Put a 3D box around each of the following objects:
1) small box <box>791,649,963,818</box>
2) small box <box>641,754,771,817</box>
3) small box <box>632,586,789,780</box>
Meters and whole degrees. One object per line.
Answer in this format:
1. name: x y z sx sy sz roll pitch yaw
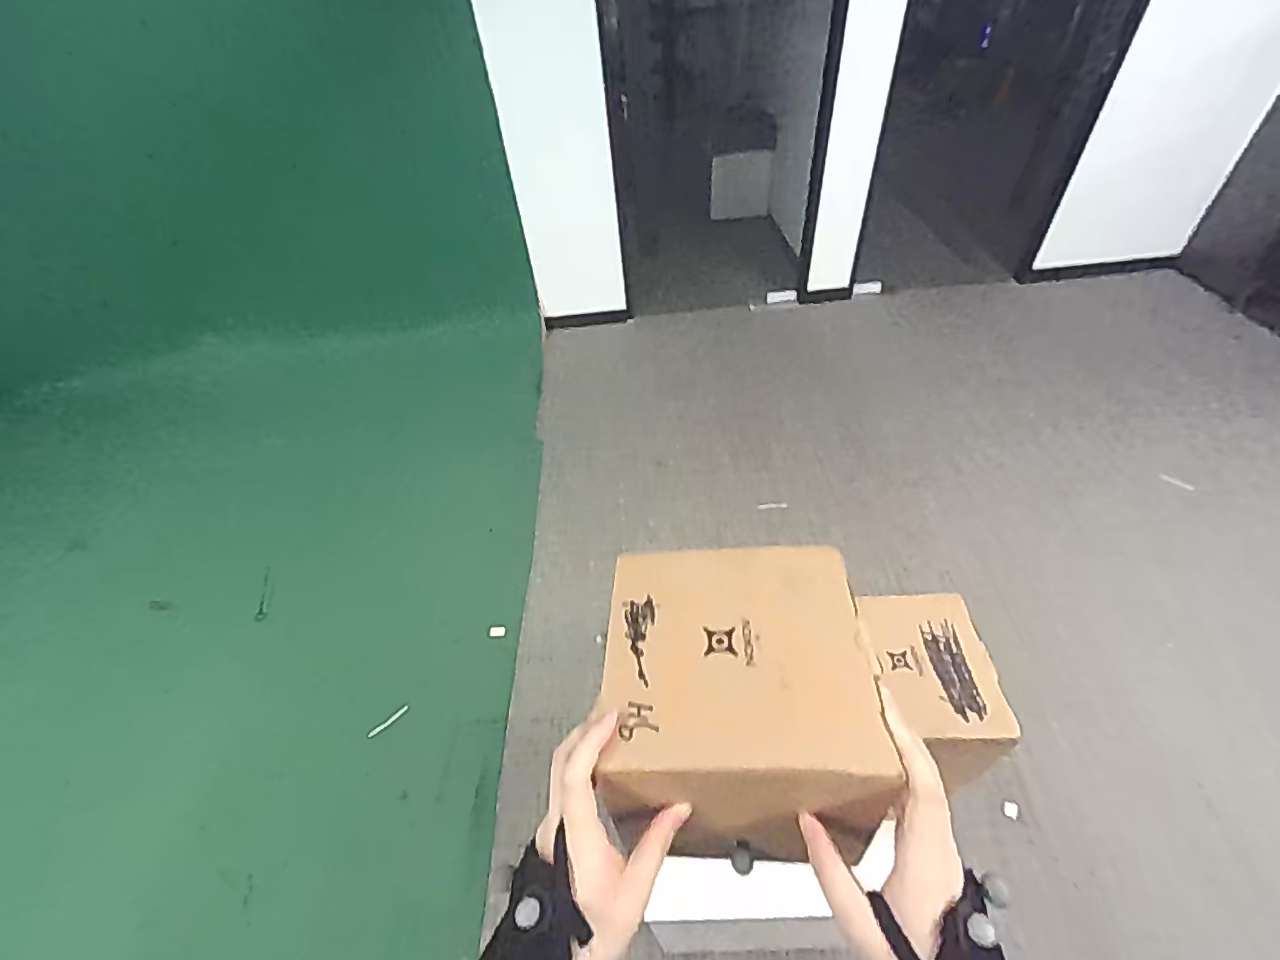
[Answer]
1. small box: 0.318 0.361 0.772 0.168 0.176 0.179 -3 46 5
2. small box: 0.087 0.371 0.788 0.168 0.176 0.179 -3 46 3
3. small box: 0.080 0.252 0.674 0.168 0.176 0.179 -3 46 4
